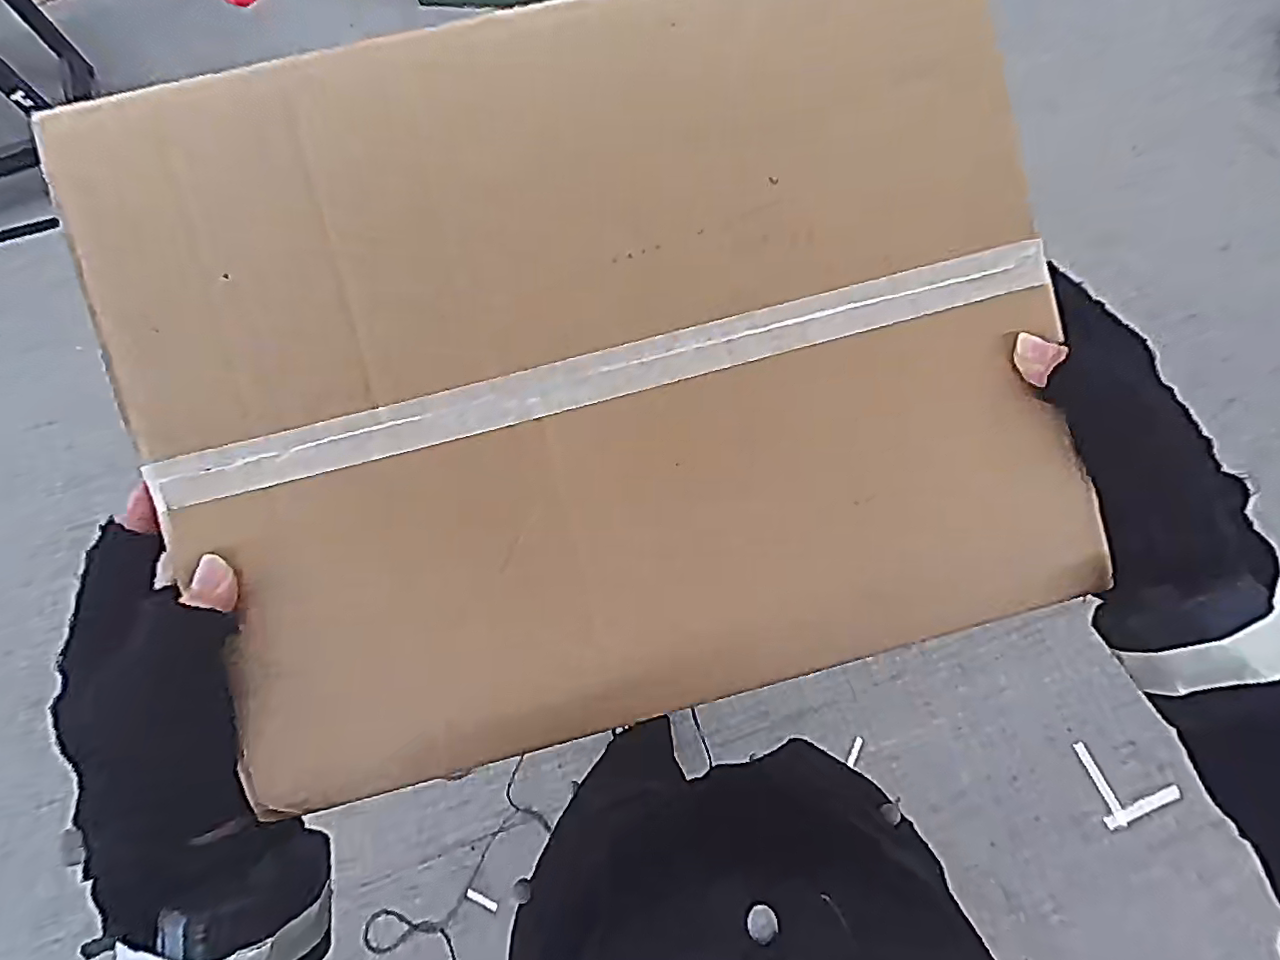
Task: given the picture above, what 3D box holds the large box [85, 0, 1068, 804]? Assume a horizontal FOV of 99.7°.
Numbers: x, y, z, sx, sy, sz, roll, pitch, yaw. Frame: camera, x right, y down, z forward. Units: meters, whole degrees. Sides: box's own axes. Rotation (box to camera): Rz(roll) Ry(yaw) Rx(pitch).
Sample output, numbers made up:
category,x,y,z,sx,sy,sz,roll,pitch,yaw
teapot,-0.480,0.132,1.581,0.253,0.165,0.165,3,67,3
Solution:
category,x,y,z,sx,sy,sz,roll,pitch,yaw
large box,-0.019,-0.054,0.399,0.408,0.320,0.320,-15,93,-3
